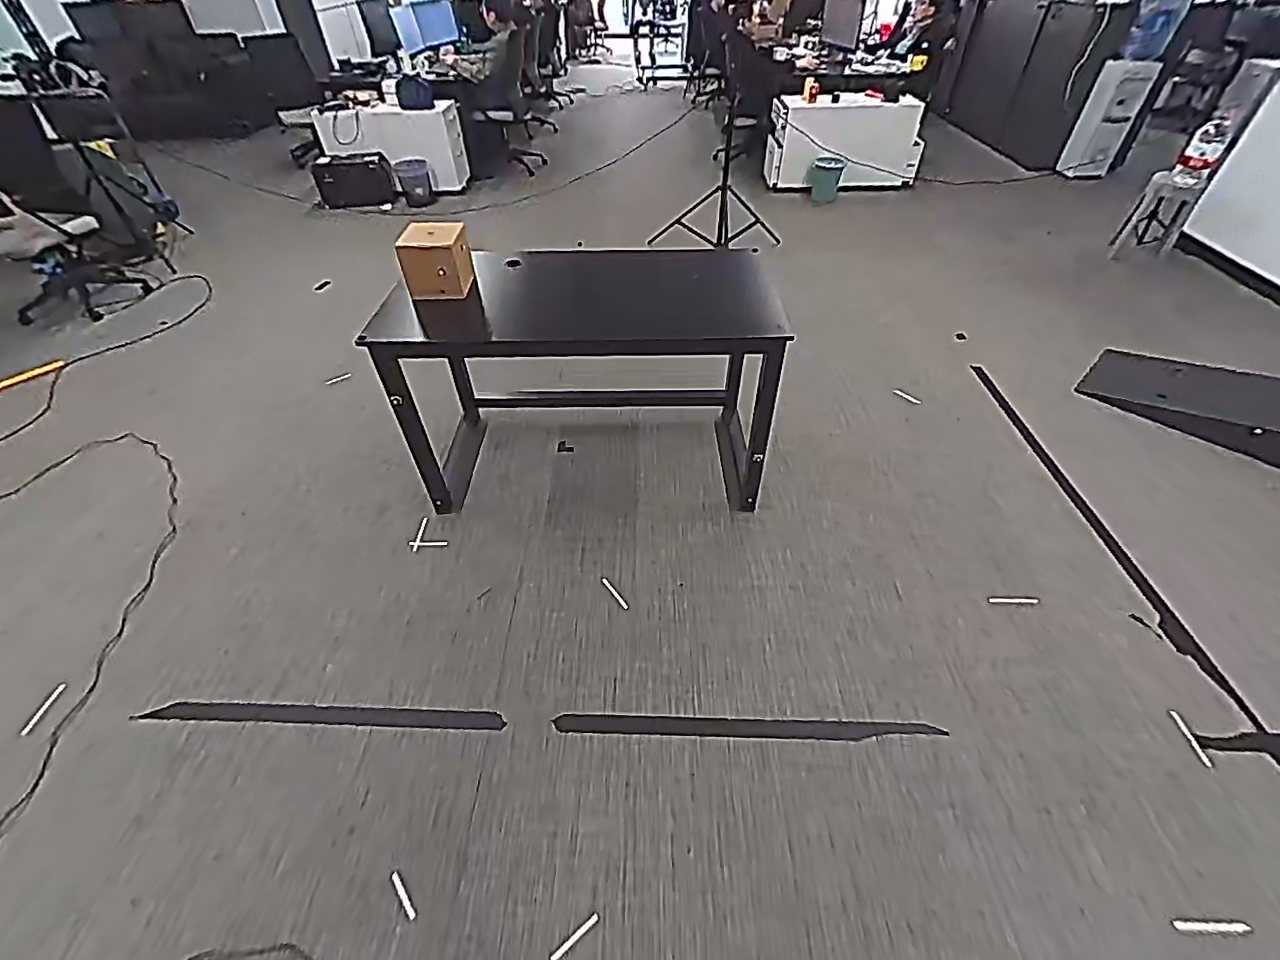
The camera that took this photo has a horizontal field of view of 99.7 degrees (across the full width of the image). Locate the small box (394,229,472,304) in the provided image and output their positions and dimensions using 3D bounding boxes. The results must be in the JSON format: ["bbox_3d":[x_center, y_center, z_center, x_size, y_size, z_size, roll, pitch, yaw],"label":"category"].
[{"bbox_3d":[-0.629,-0.657,1.669,0.168,0.176,0.179,-1,44,-2],"label":"small box"}]
